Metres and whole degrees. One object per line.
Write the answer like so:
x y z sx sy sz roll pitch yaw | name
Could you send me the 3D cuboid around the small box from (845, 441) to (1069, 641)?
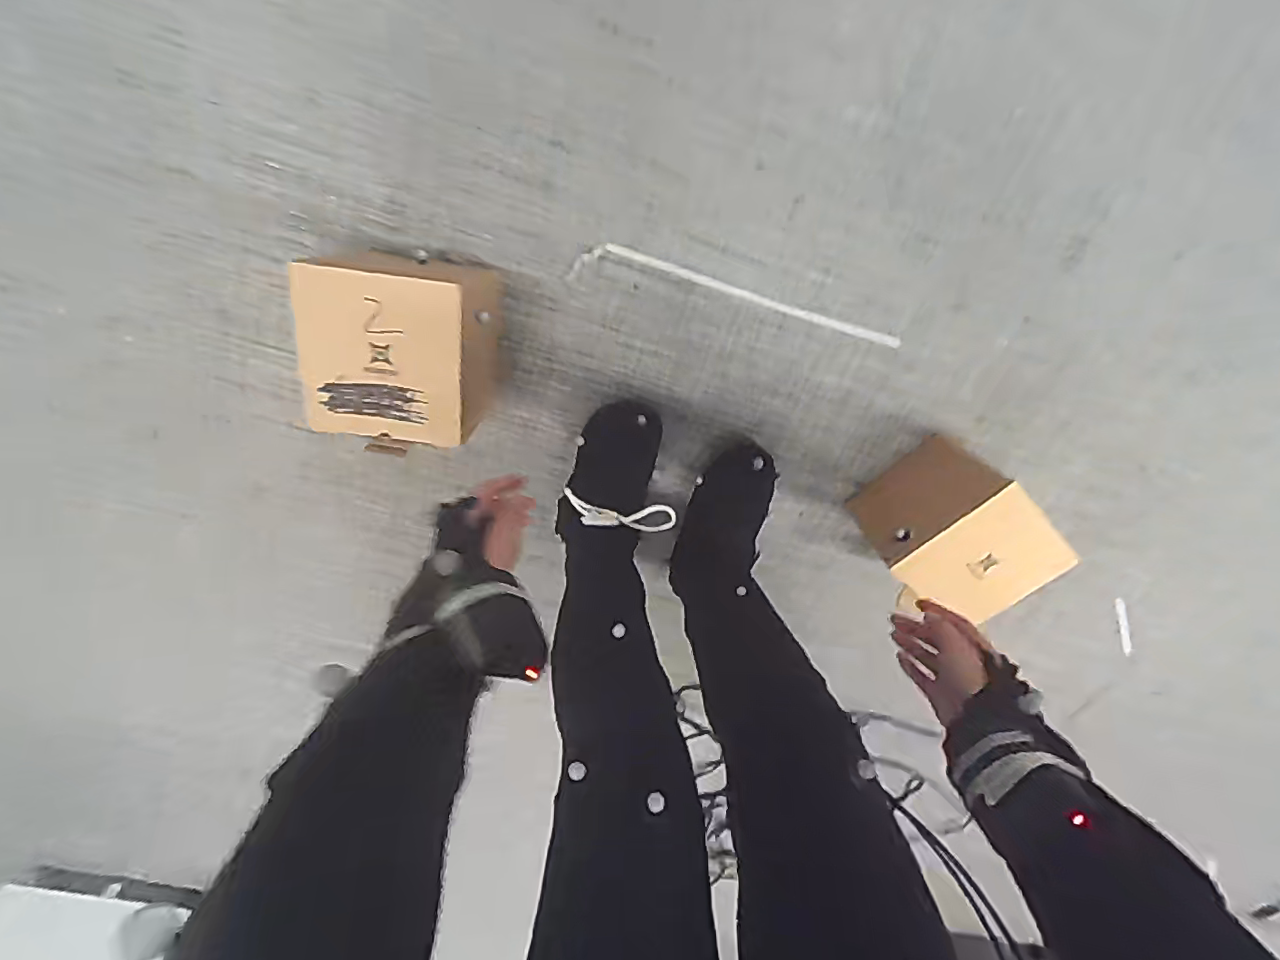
0.420 0.077 0.746 0.168 0.176 0.179 41 110 -19 | small box
